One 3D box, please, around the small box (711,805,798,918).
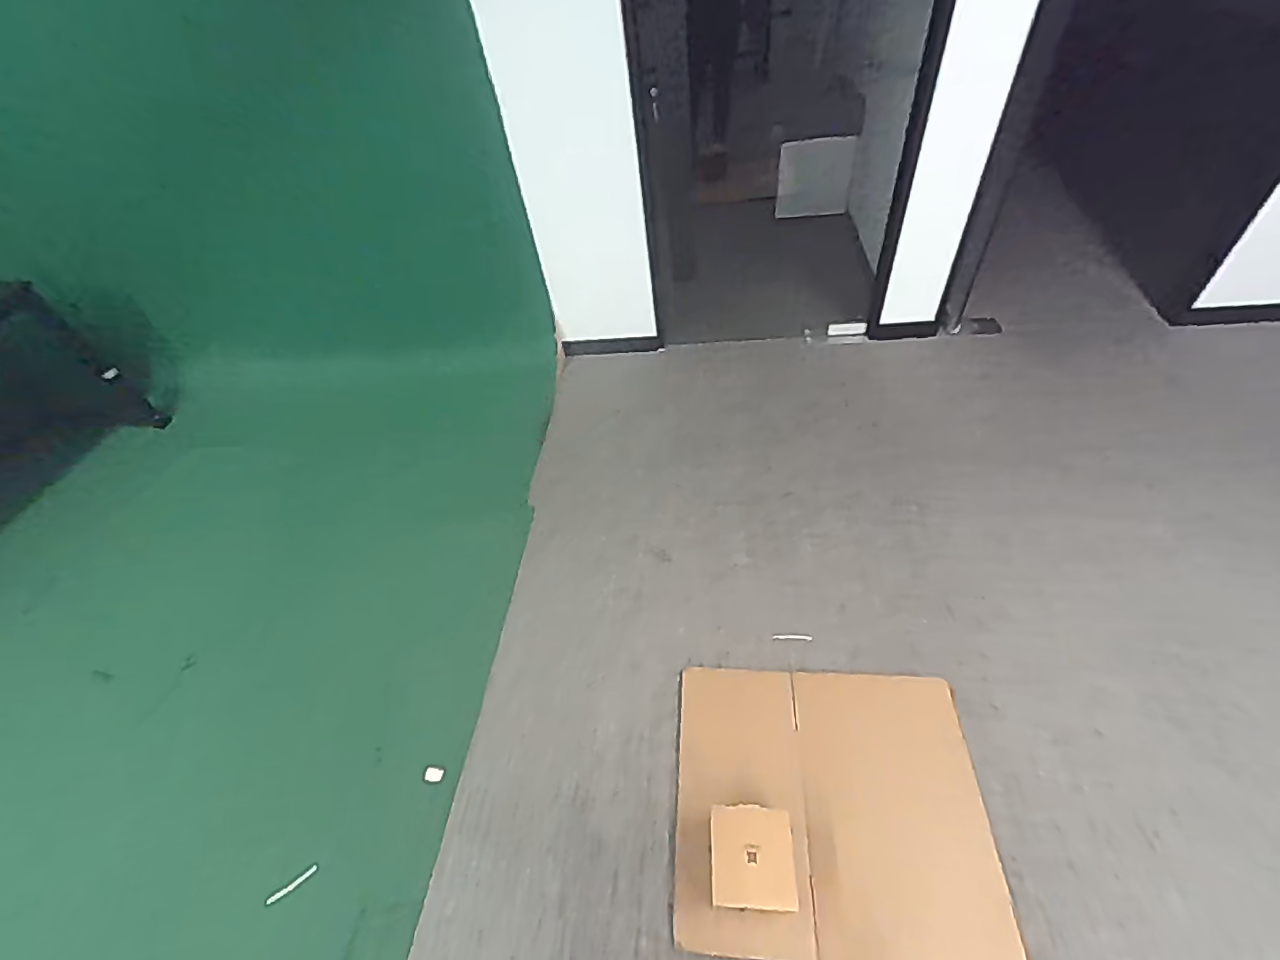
[{"bbox_3d":[0.235,0.808,1.142,0.168,0.176,0.179,-2,48,7],"label":"small box"}]
